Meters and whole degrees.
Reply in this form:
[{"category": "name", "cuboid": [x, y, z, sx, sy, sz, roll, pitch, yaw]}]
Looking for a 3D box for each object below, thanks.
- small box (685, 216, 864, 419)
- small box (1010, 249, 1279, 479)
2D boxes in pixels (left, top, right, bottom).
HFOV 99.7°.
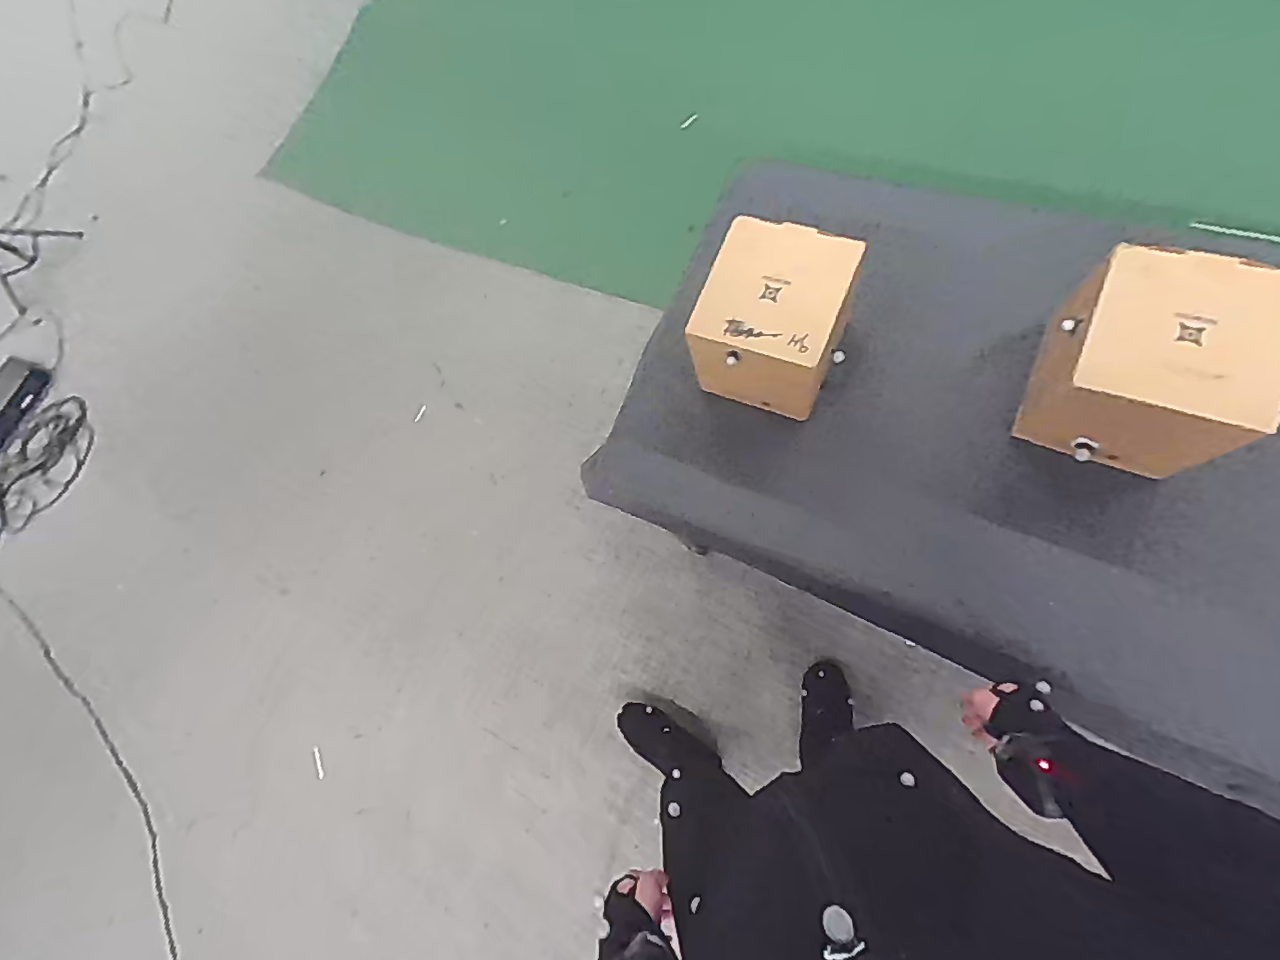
[{"category": "small box", "cuboid": [0.176, -0.209, 0.724, 0.168, 0.176, 0.179, 22, 80, 18]}, {"category": "small box", "cuboid": [0.559, -0.122, 0.613, 0.168, 0.176, 0.179, 21, 82, 19]}]
